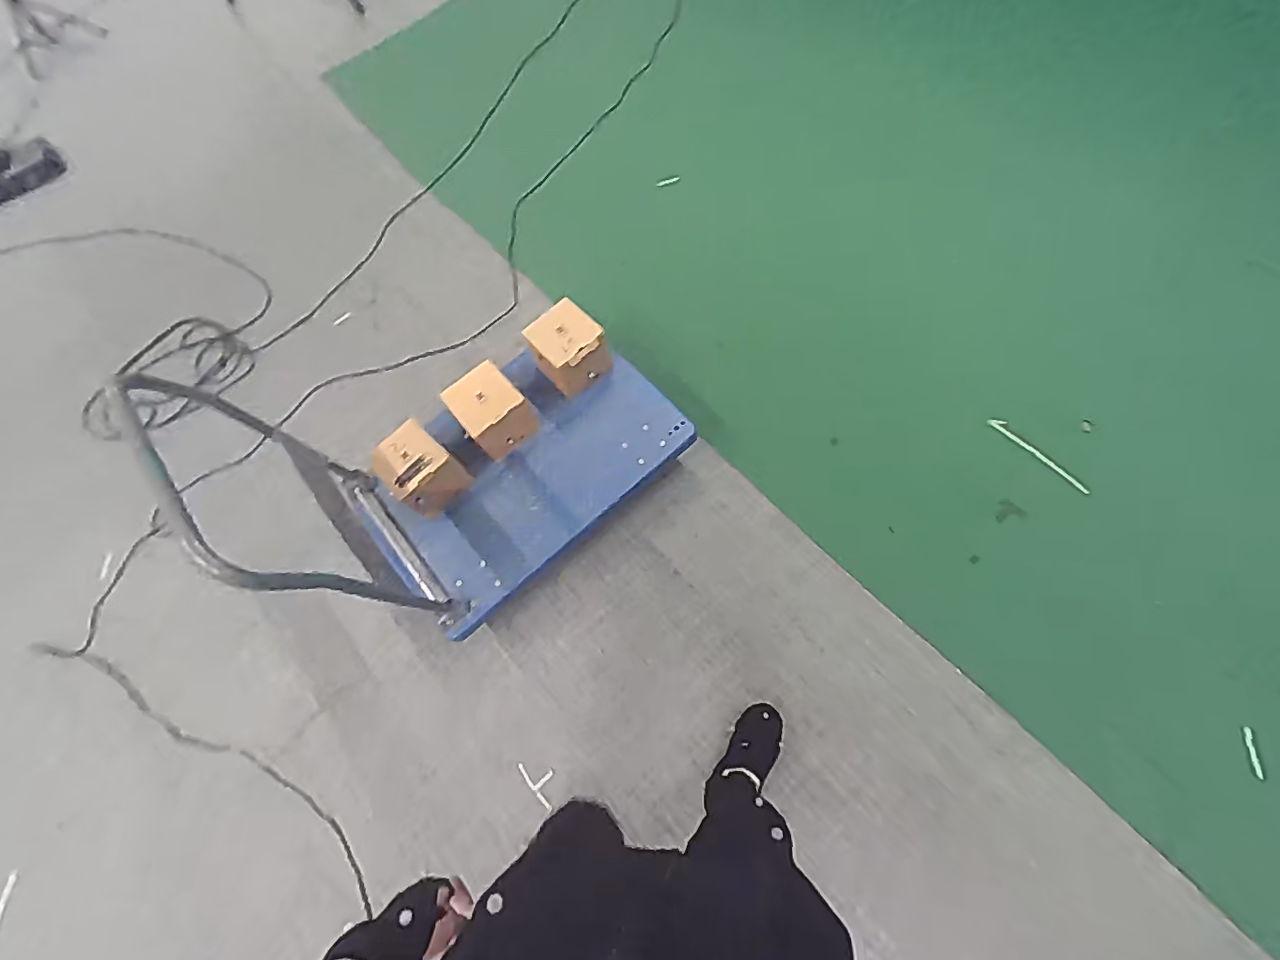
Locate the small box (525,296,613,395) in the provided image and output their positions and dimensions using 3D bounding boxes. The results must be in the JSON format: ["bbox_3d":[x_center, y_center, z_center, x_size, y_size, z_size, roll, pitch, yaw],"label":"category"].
[{"bbox_3d":[-0.196,-0.375,1.537,0.168,0.176,0.179,-36,71,-5],"label":"small box"}]

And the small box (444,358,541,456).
[{"bbox_3d":[-0.402,-0.195,1.494,0.168,0.176,0.179,-40,71,-10],"label":"small box"}]
